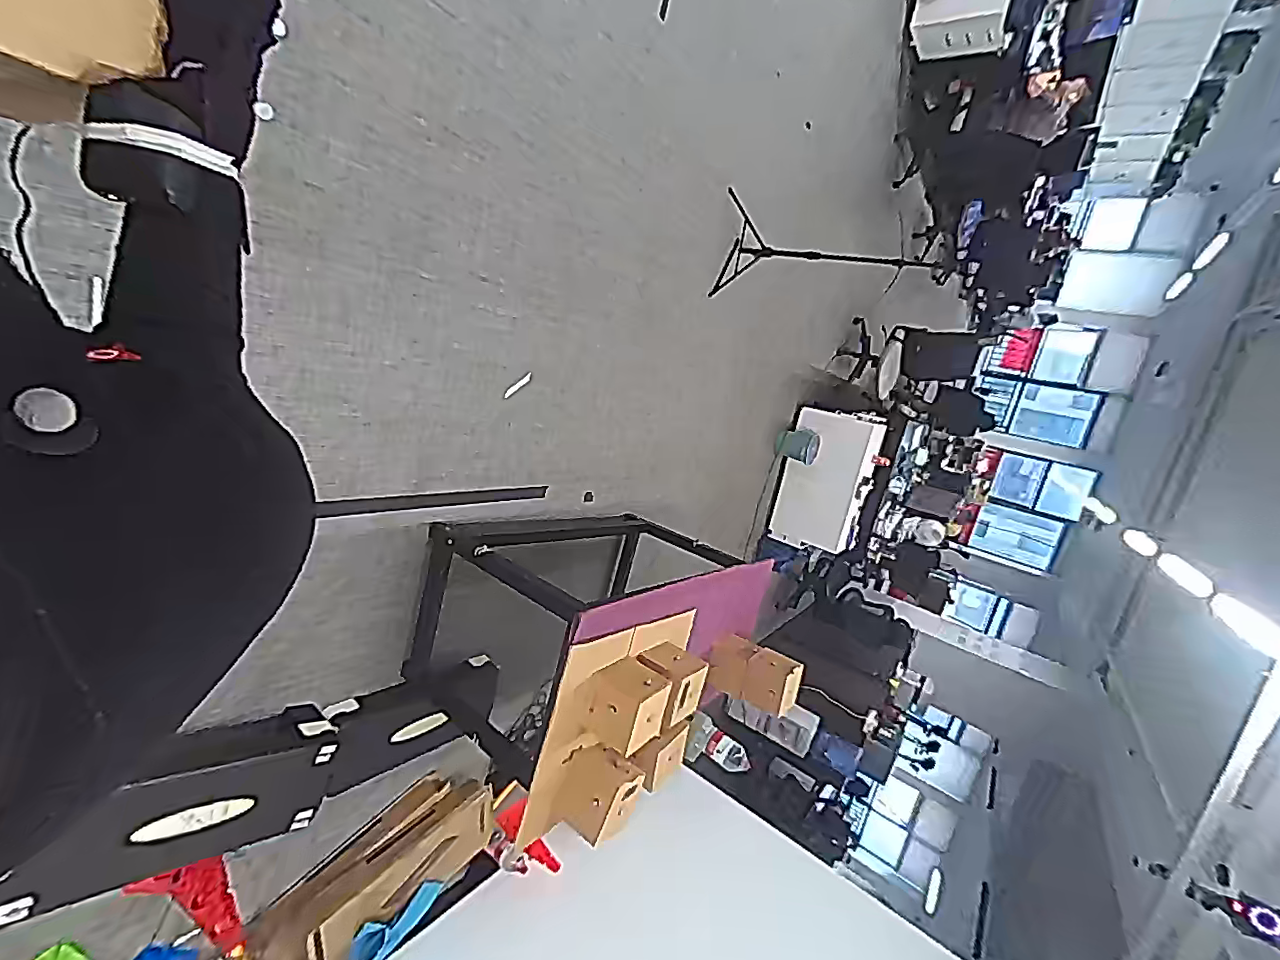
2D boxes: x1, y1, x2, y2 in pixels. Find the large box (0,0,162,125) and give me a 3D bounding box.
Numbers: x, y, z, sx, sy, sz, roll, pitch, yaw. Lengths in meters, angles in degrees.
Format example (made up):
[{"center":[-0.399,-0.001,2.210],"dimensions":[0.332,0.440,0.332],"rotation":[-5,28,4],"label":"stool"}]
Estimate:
[{"center":[-0.531,-0.424,0.247],"dimensions":[0.408,0.320,0.320],"rotation":[-7,114,-60],"label":"large box"}]
